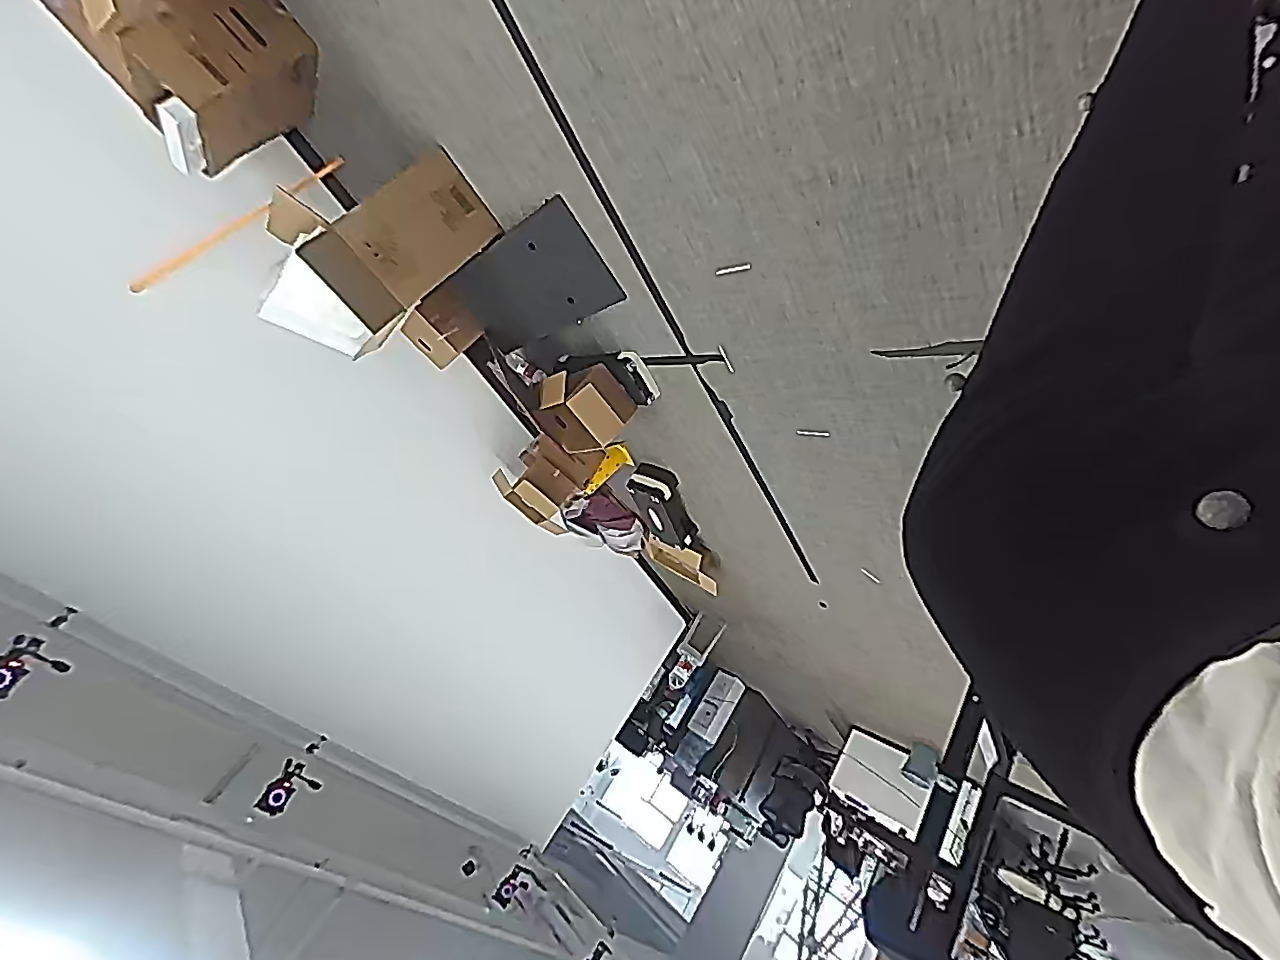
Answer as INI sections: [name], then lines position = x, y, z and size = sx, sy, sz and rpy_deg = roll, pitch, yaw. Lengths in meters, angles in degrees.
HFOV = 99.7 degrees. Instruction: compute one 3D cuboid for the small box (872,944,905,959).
[small box]
position = 0.643, 1.269, 1.296
size = 0.168, 0.176, 0.179
rpy_deg = 9, 145, 47
